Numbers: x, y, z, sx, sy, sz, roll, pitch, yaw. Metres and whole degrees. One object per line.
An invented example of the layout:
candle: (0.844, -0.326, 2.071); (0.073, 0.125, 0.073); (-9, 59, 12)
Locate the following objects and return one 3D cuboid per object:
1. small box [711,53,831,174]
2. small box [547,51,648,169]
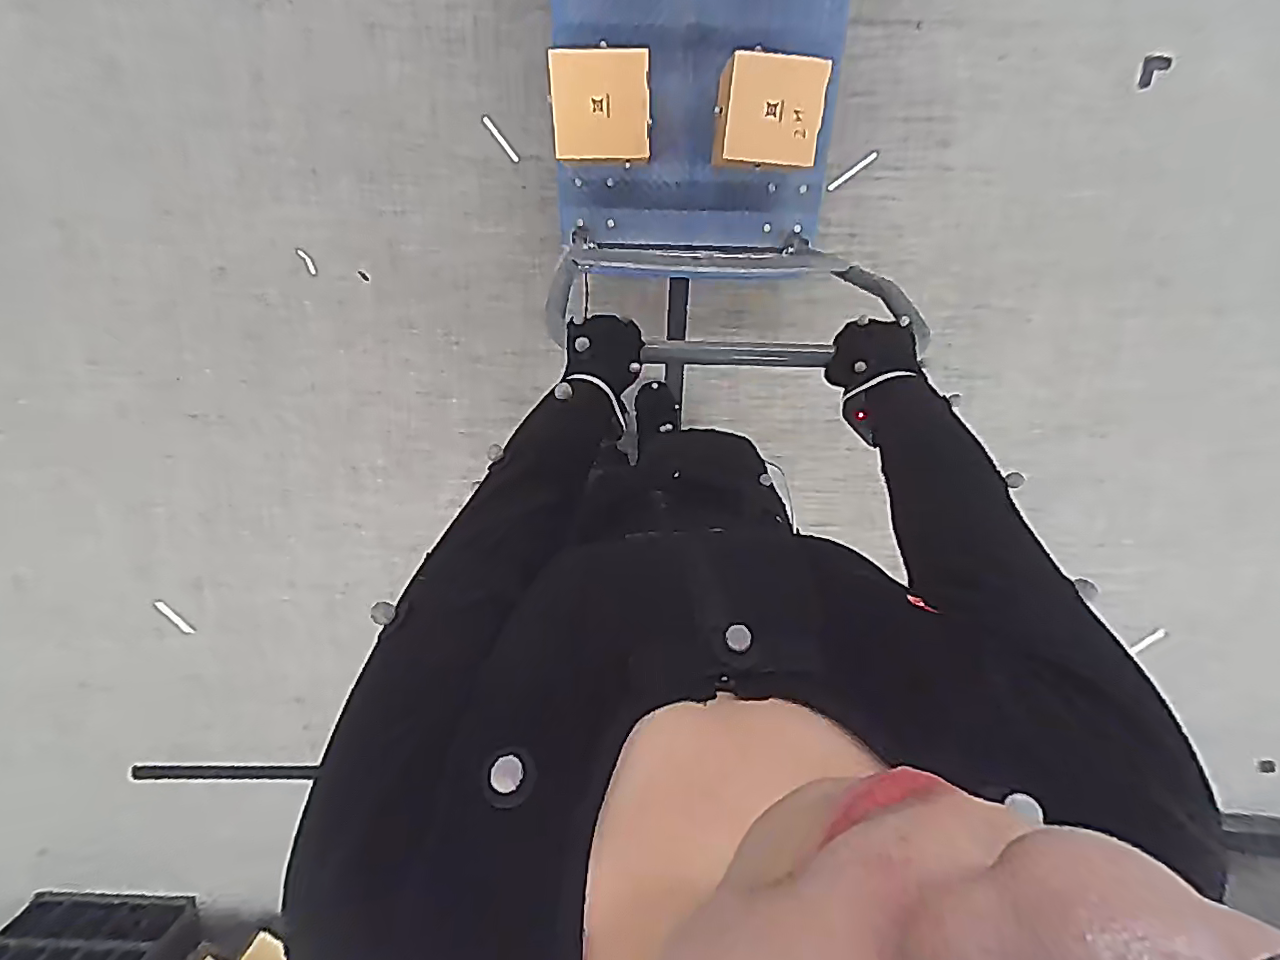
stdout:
small box: (0.241, -0.698, 1.049); (0.179, 0.176, 0.168); (3, 117, -3)
small box: (-0.075, -0.700, 1.039); (0.179, 0.176, 0.168); (-3, 116, -2)
